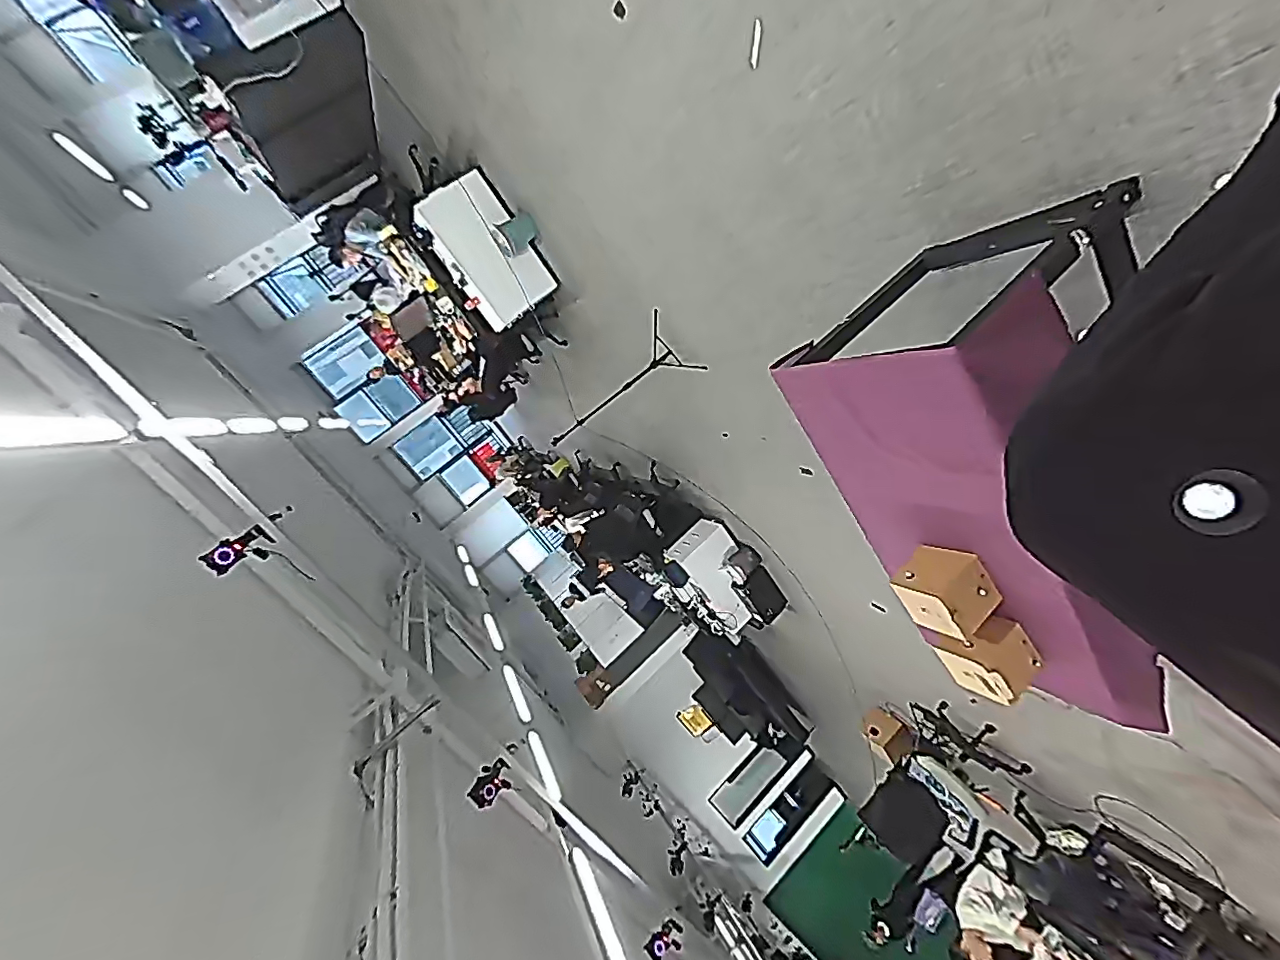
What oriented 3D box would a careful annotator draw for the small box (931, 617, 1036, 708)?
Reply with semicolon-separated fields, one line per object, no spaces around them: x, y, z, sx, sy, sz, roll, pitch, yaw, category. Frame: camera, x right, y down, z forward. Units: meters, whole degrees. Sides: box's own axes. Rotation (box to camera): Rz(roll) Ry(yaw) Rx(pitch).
1.003;0.515;1.569;0.168;0.176;0.179;52;166;-10;small box

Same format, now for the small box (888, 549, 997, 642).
0.849;0.316;1.519;0.168;0.176;0.179;53;165;-14;small box
